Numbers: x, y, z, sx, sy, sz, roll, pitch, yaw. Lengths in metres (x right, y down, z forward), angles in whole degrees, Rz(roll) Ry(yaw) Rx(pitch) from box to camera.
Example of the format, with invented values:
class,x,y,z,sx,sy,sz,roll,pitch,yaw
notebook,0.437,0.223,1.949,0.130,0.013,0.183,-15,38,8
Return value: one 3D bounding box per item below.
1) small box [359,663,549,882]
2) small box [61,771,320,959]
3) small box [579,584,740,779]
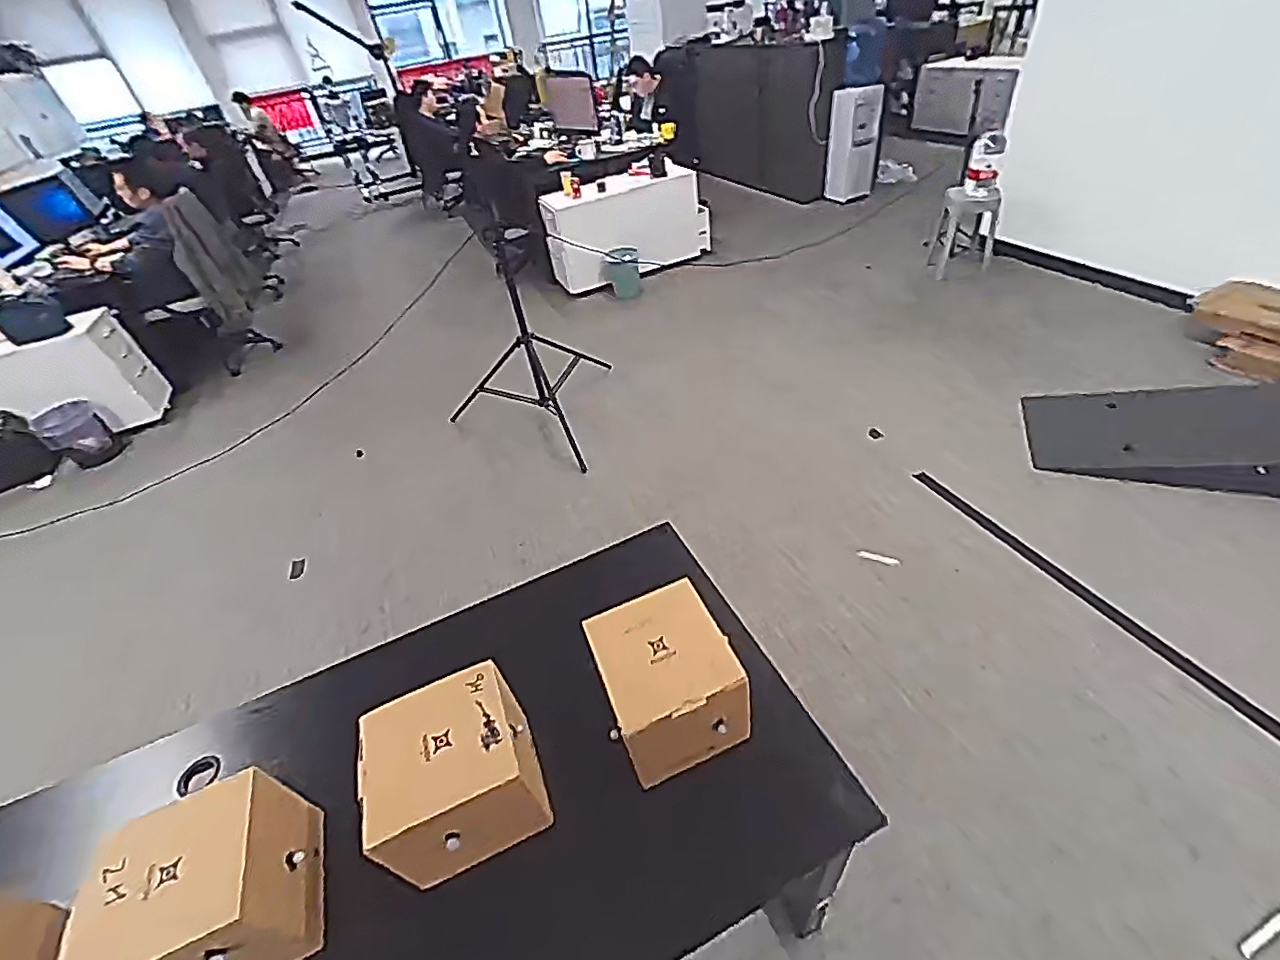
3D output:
class,x,y,z,sx,sy,sz,roll,pitch,yaw
small box,-0.238,0.382,0.705,0.179,0.176,0.168,-22,42,-12
small box,-0.502,0.488,0.635,0.179,0.176,0.168,-22,42,-14
small box,0.031,0.287,0.759,0.168,0.176,0.179,-20,41,-12
